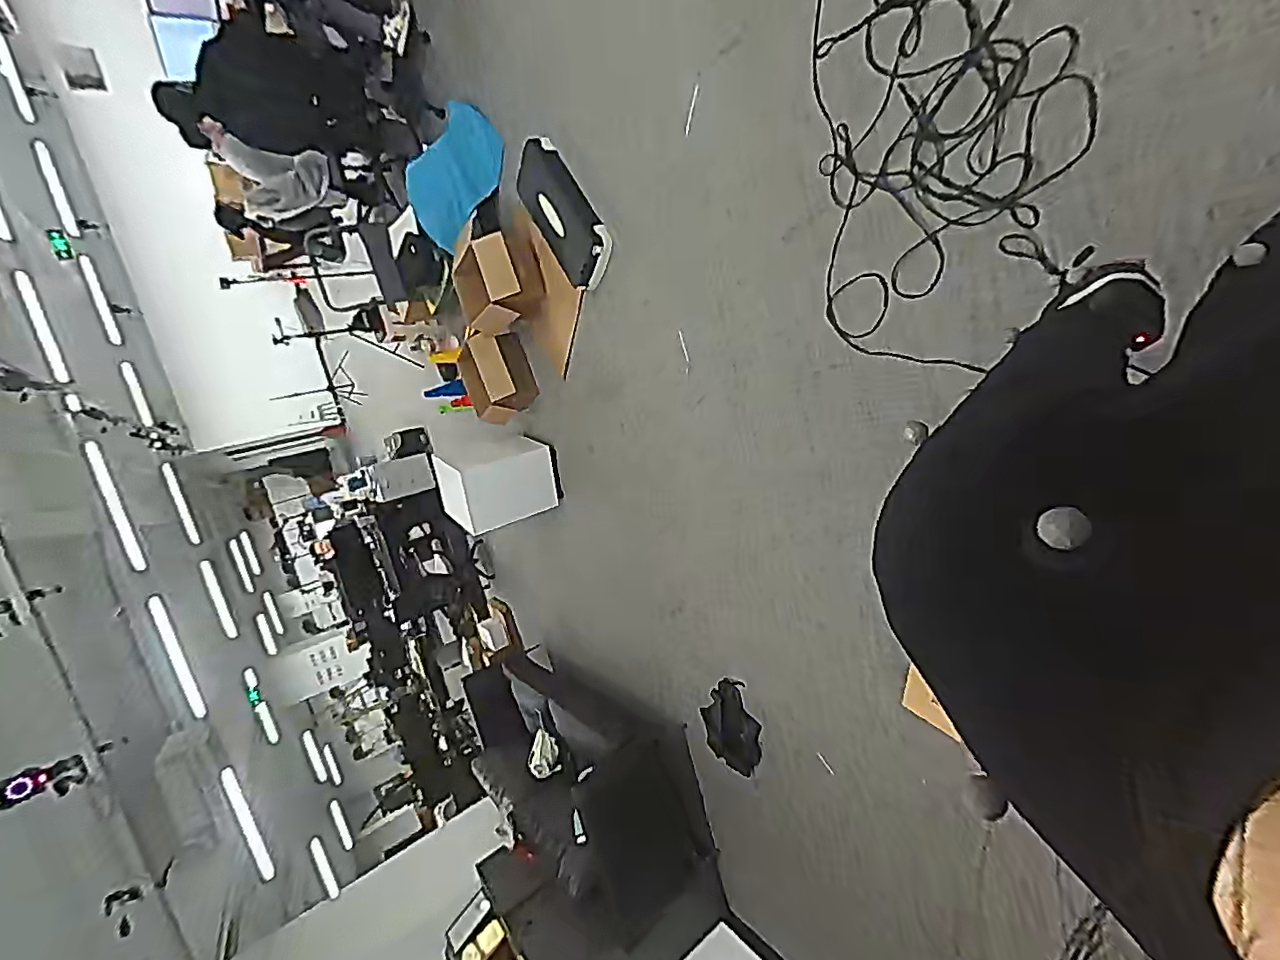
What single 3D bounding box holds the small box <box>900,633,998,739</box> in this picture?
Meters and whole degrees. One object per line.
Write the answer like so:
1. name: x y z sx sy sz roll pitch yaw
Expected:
1. small box: 0.849 0.558 1.486 0.168 0.176 0.179 28 129 48
